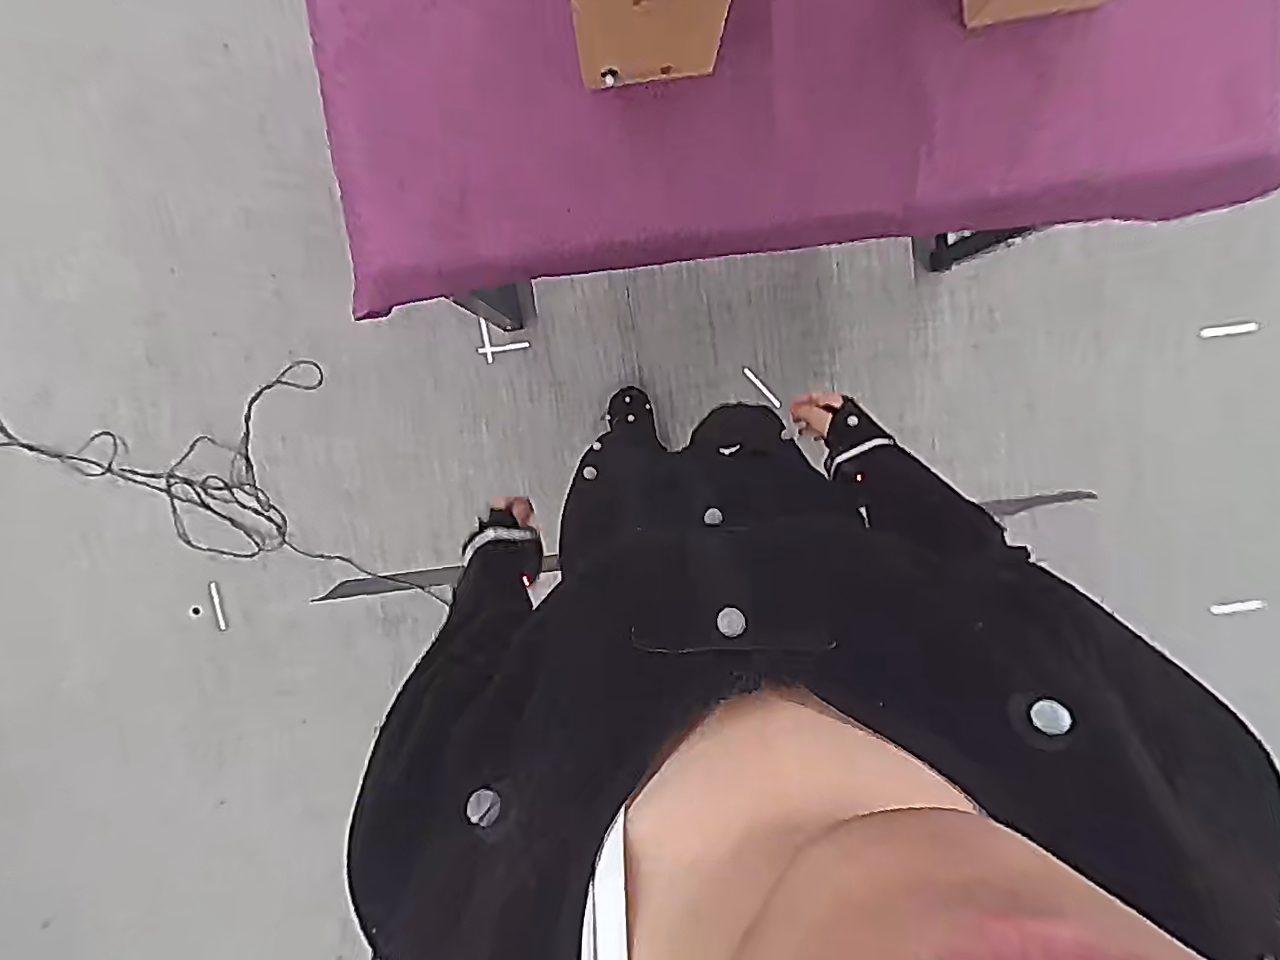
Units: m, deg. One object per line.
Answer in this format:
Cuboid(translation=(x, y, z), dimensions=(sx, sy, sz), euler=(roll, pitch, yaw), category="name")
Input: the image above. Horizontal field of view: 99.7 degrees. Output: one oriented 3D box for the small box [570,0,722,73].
Cuboid(translation=(0.000, -0.581, 0.587), dimensions=(0.168, 0.176, 0.179), euler=(-8, 97, 0), category="small box")
